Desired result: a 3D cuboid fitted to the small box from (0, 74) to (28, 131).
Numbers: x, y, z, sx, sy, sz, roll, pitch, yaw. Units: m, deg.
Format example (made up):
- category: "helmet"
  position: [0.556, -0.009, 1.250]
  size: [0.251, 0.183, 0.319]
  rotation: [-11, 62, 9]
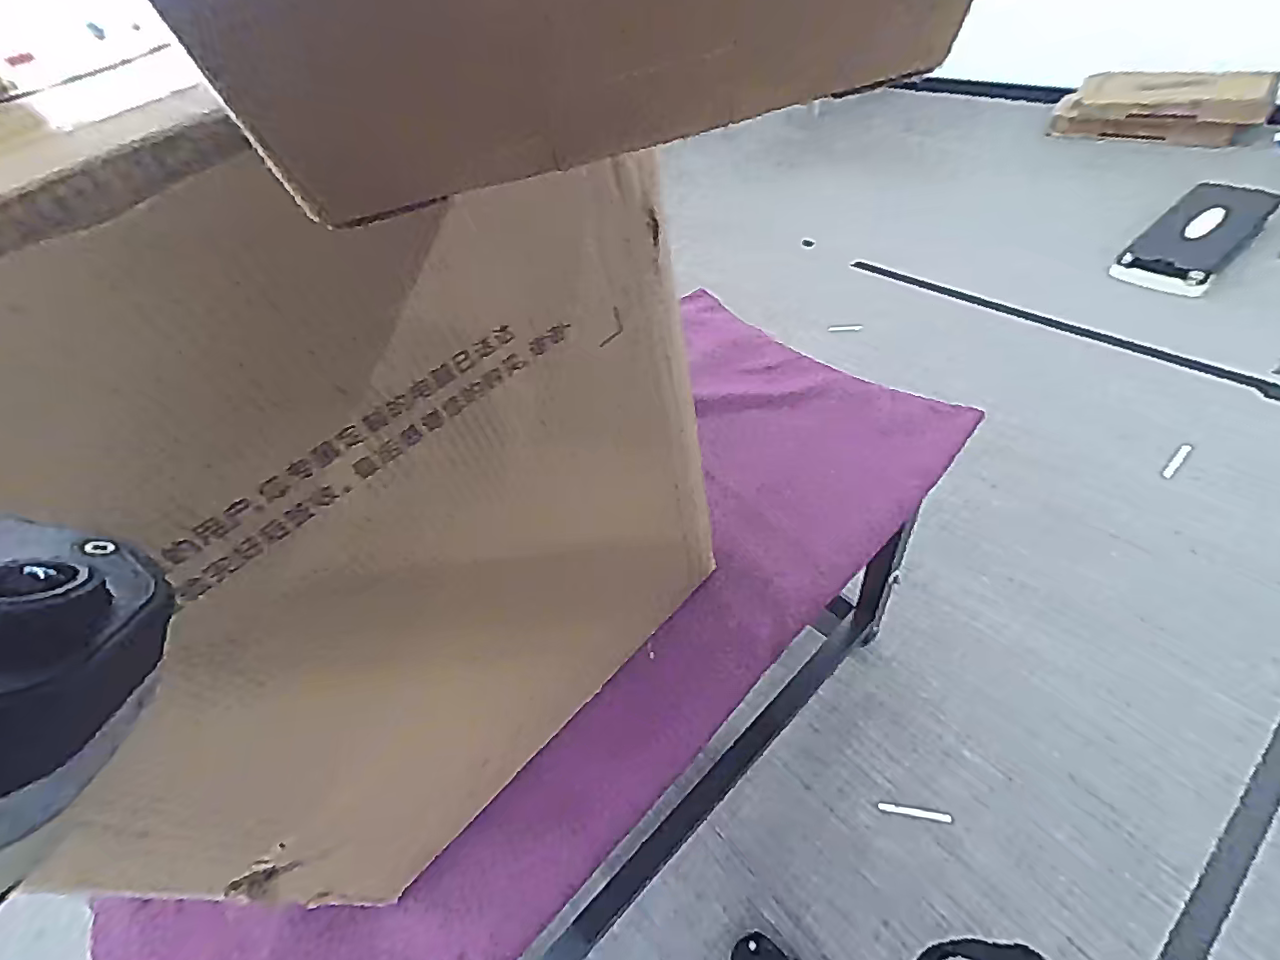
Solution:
- category: "small box"
  position: [-0.470, -0.242, 0.255]
  size: [0.179, 0.176, 0.168]
  rotation: [-40, 53, -20]
